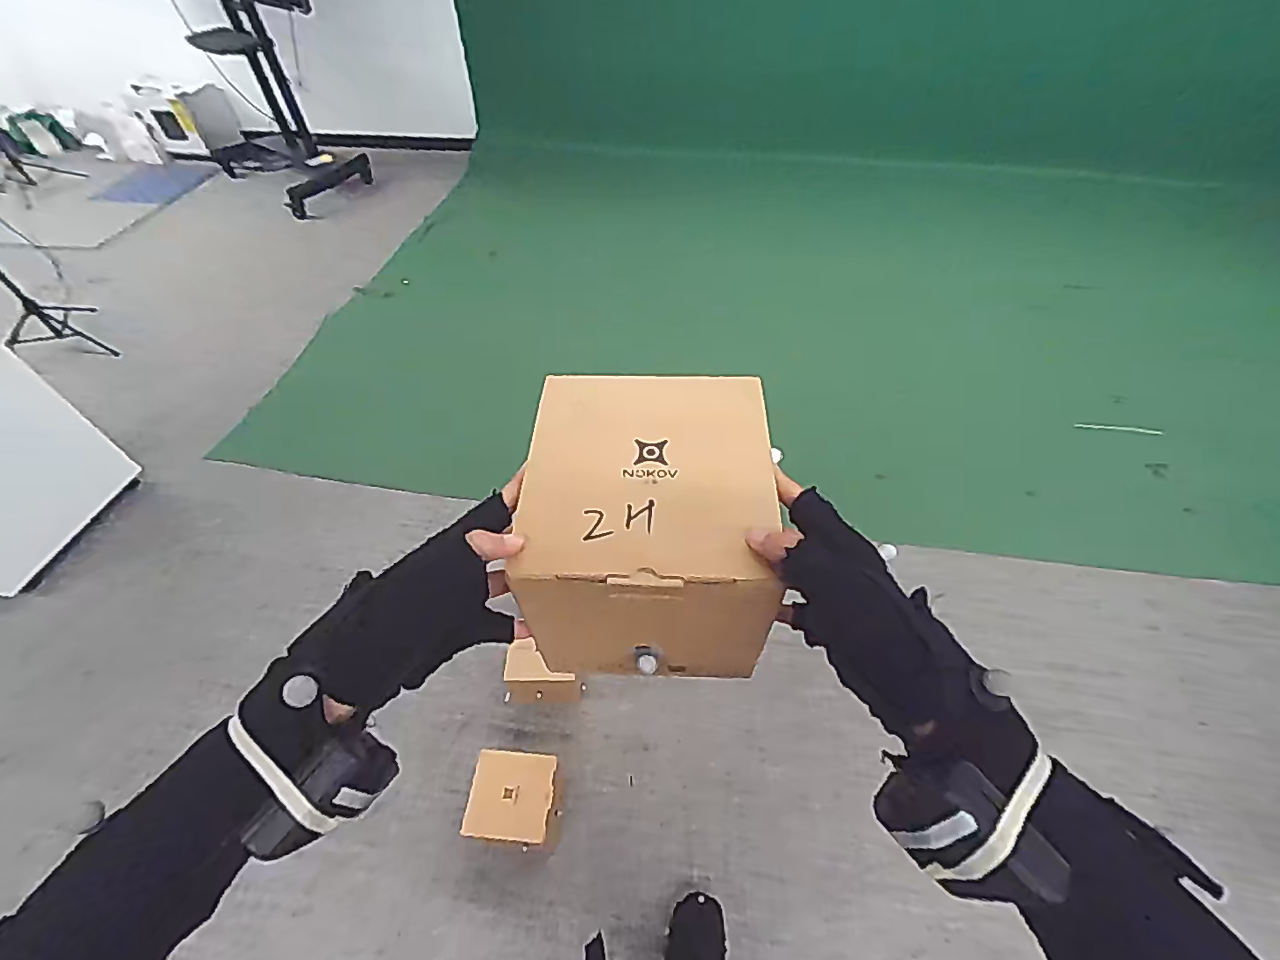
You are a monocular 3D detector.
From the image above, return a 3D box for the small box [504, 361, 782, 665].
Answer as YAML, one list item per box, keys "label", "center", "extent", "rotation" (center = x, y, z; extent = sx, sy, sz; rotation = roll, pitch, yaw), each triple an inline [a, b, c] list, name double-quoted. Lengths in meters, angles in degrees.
- label: "small box"
  center: [0.007, 0.027, 0.426]
  extent: [0.168, 0.176, 0.179]
  rotation: [1, 52, 3]

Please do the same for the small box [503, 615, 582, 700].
- label: "small box"
  center: [-0.244, 0.466, 1.415]
  extent: [0.179, 0.176, 0.168]
  rotation: [-1, 49, 1]

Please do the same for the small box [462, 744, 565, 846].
- label: "small box"
  center: [-0.274, 0.708, 1.212]
  extent: [0.179, 0.176, 0.168]
  rotation: [3, 50, 2]
